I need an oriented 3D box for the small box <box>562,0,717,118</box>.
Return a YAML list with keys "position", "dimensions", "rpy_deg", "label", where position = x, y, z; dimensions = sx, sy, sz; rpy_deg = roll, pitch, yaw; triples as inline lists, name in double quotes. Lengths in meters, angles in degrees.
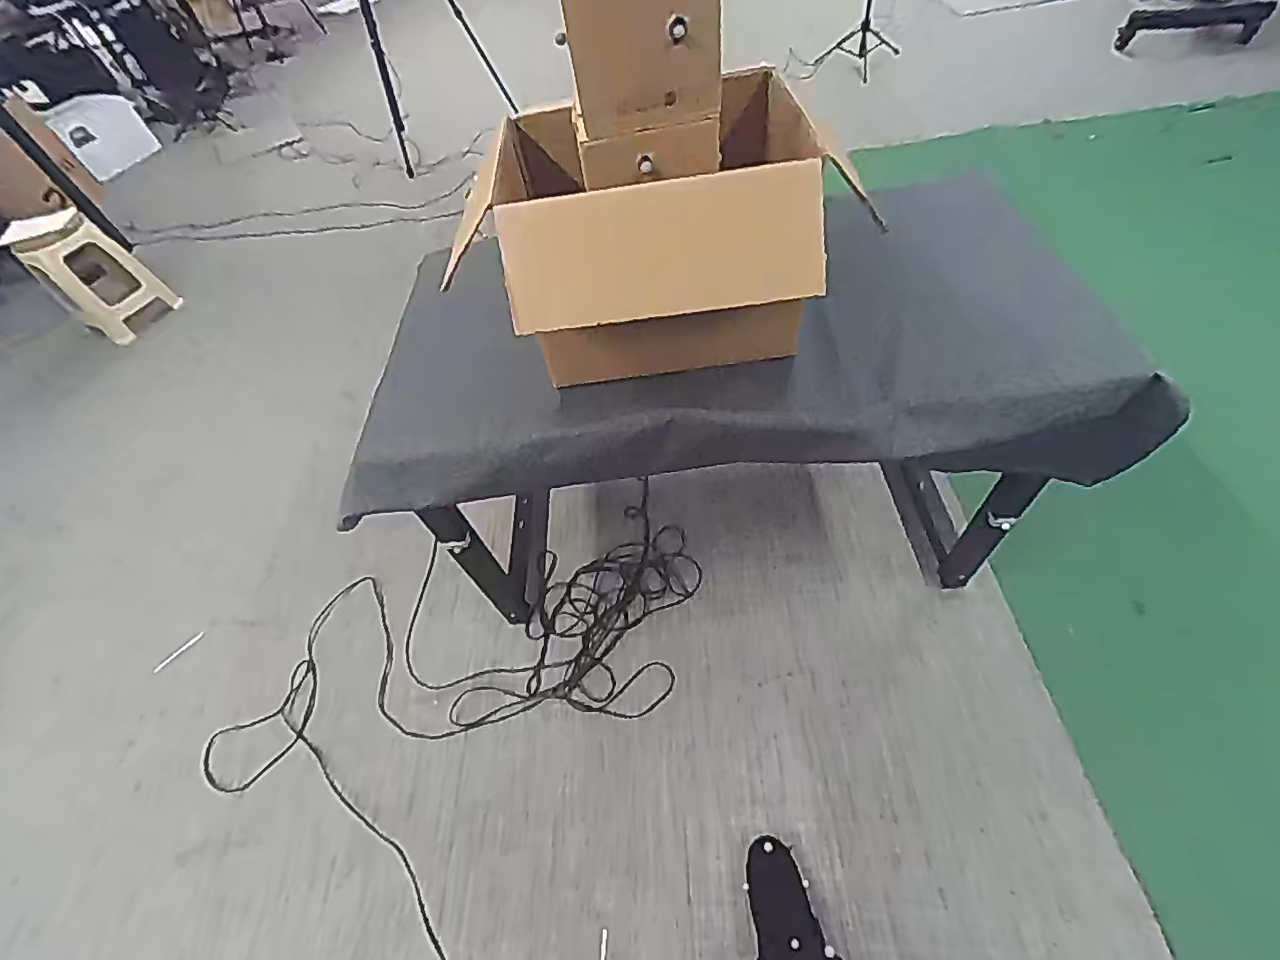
- position: [-0.005, -0.548, 0.631]
  dimensions: [0.168, 0.176, 0.179]
  rpy_deg: [-9, 53, 0]
  label: "small box"
